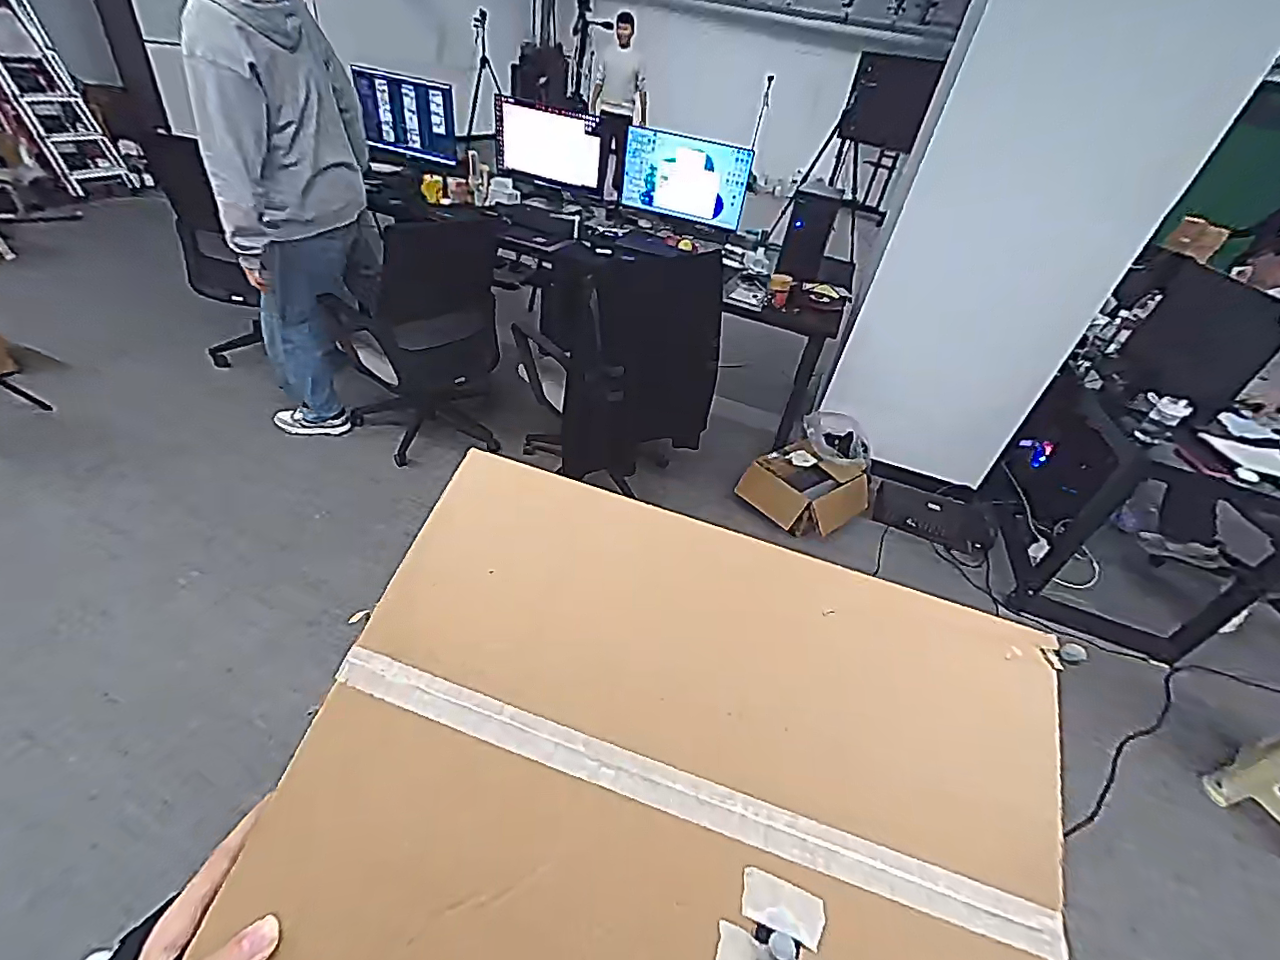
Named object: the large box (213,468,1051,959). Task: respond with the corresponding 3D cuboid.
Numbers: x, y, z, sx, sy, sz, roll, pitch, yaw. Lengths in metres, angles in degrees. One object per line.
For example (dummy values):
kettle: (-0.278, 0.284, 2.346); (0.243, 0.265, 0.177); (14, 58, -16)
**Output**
large box: (0.016, 0.240, 0.435); (0.408, 0.320, 0.320); (18, 64, 7)
